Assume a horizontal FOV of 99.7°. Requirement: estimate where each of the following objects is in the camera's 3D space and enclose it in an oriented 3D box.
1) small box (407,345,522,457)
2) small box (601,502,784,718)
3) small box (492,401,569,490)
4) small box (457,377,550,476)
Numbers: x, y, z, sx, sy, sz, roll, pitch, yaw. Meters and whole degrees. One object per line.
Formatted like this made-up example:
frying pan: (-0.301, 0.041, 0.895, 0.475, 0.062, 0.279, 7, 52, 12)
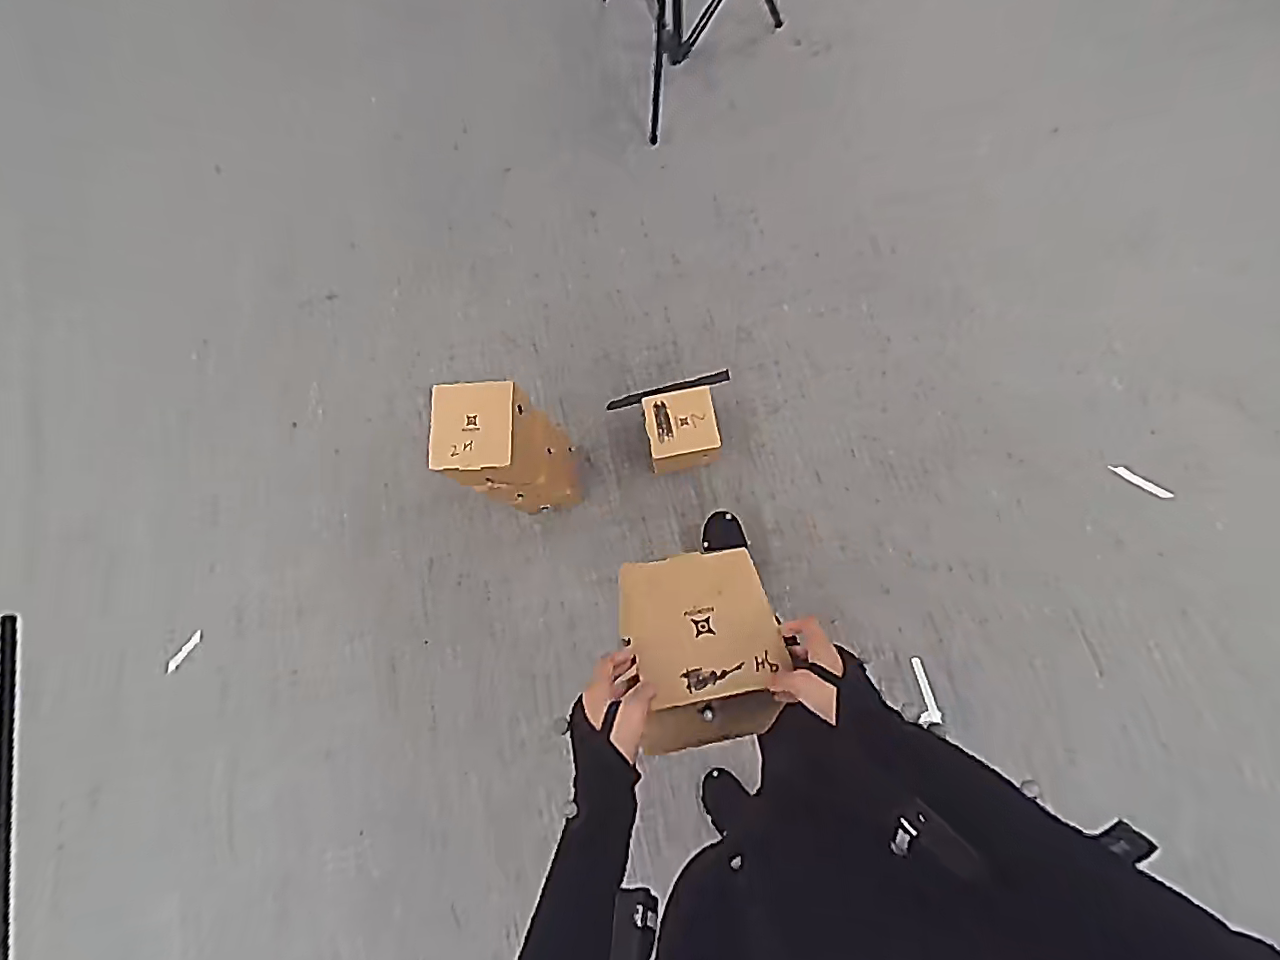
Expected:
small box: (-0.341, -0.151, 1.080, 0.168, 0.176, 0.179, -2, 80, 5)
small box: (0.045, 0.152, 0.635, 0.168, 0.176, 0.179, -7, 49, -9)
small box: (-0.287, -0.085, 1.396, 0.168, 0.176, 0.179, -10, 79, 3)
small box: (-0.310, -0.116, 1.239, 0.168, 0.176, 0.179, -8, 80, 4)
